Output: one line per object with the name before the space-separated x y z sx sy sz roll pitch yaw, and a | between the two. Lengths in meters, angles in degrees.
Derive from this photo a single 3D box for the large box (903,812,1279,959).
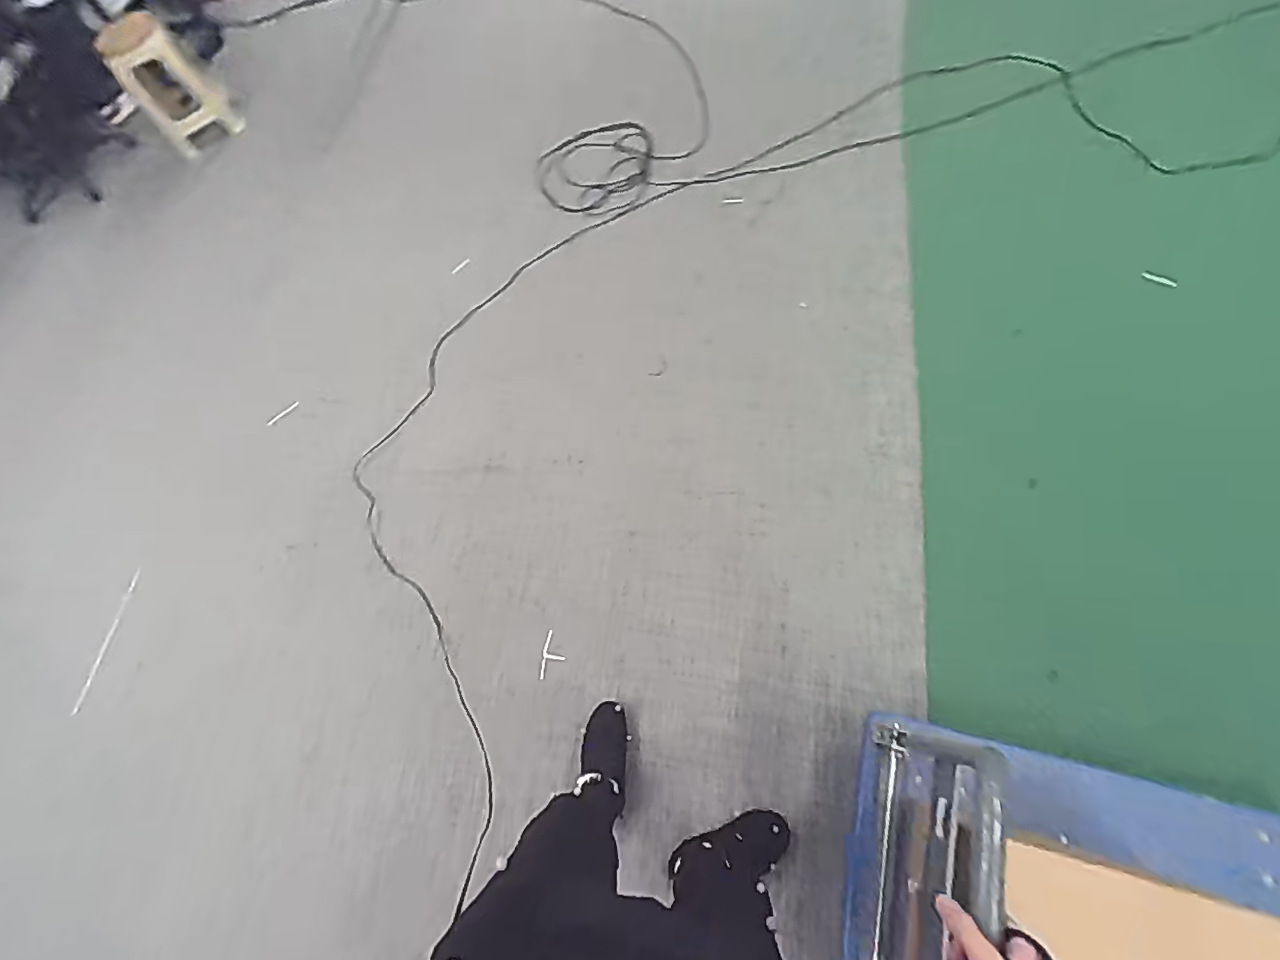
large box | 0.680 0.781 0.870 0.408 0.320 0.320 10 69 14
